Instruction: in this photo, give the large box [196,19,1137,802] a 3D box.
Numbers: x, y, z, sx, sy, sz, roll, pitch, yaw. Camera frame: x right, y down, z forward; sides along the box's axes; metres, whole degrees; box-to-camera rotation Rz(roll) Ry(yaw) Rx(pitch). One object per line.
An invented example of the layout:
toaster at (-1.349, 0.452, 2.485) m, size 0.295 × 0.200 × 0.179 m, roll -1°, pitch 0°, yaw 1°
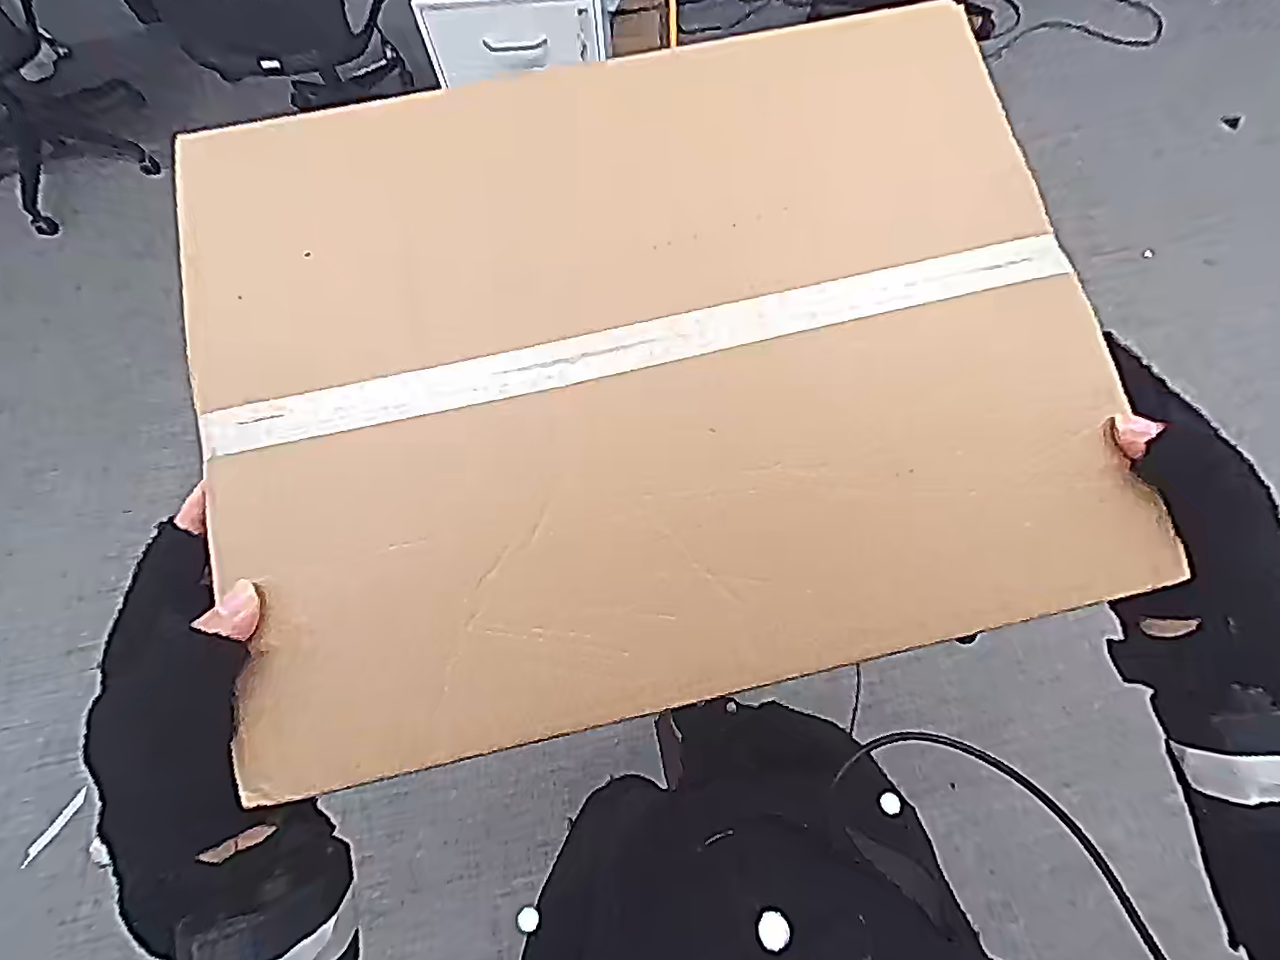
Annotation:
large box at (0.002, -0.034, 0.406) m, size 0.408 × 0.320 × 0.320 m, roll -13°, pitch 80°, yaw -3°
